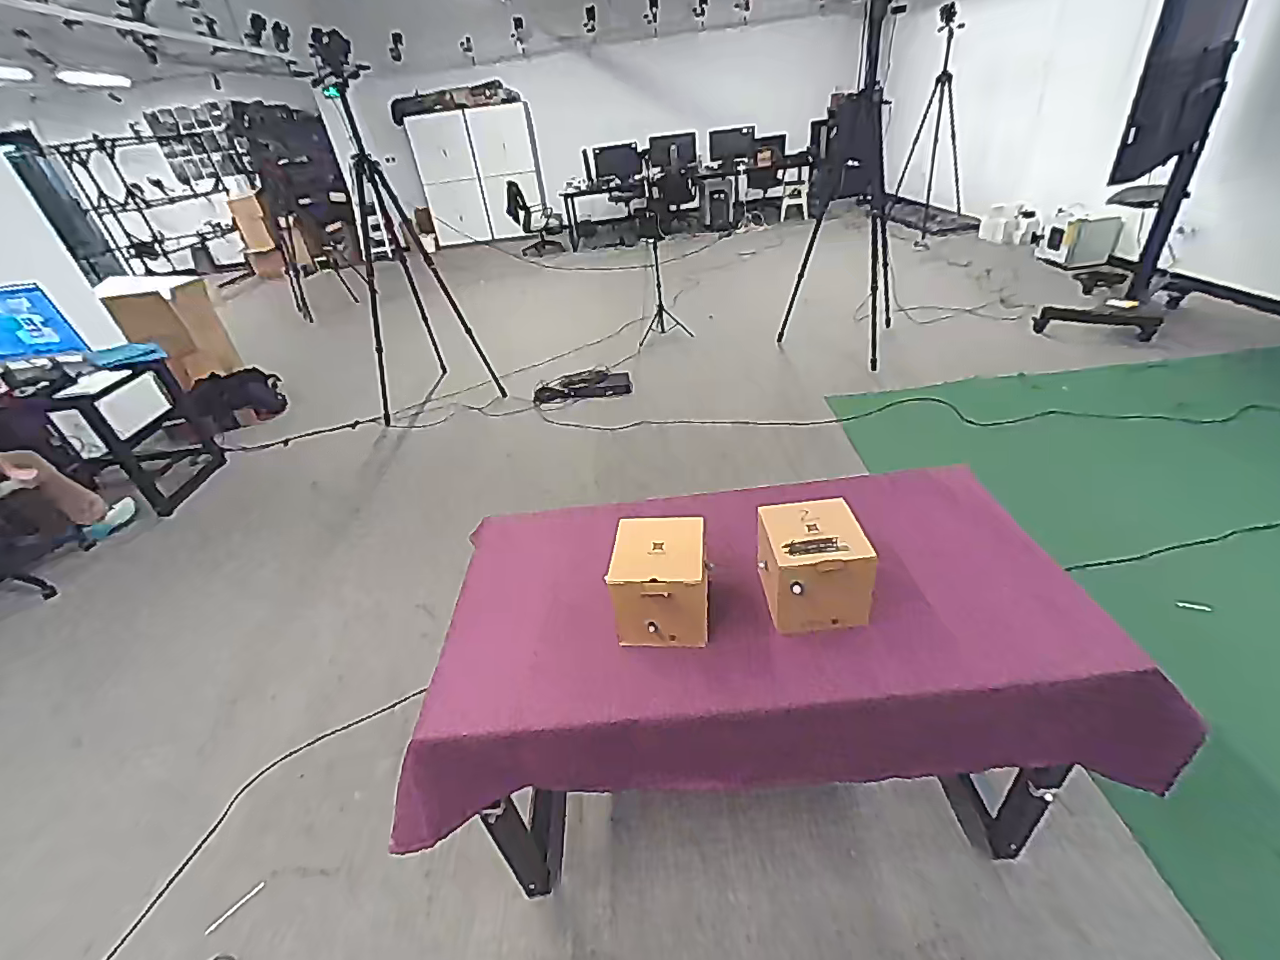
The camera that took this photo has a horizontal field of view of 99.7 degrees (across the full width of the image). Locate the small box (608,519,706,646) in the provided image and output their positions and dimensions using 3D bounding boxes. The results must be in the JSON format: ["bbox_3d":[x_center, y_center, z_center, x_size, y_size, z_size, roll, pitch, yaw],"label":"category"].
[{"bbox_3d":[0.040,0.194,1.042,0.168,0.176,0.179,-2,35,9],"label":"small box"}]
